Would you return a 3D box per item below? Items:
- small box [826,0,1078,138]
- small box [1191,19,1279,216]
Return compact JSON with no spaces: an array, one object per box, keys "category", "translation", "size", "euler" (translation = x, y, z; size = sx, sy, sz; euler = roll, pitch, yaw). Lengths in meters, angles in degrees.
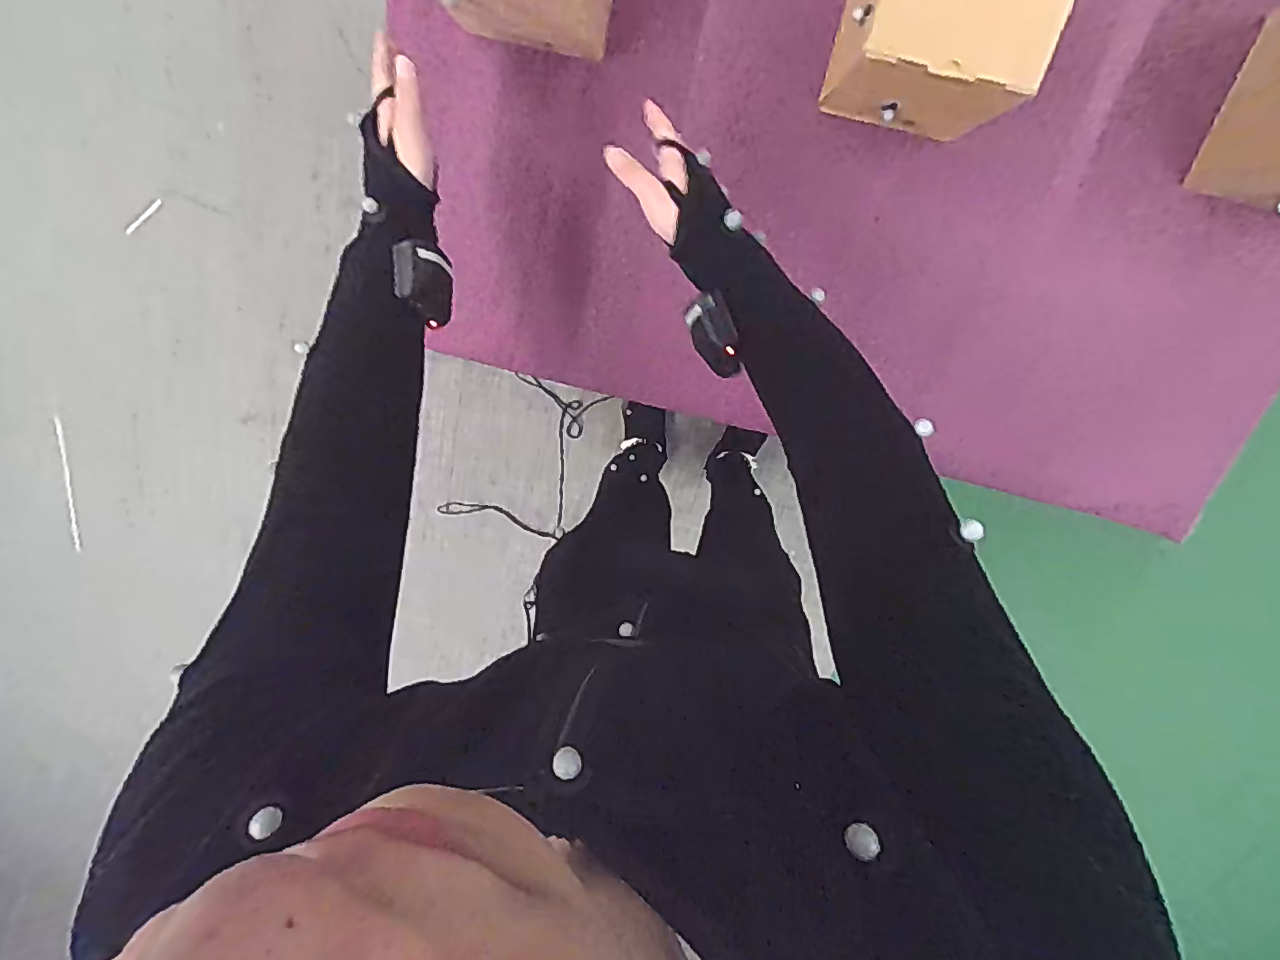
[{"category":"small box","translation":[0.305,-0.472,0.535],"size":[0.168,0.176,0.179],"euler":[12,111,-2]},{"category":"small box","translation":[0.737,-0.381,0.543],"size":[0.168,0.176,0.179],"euler":[14,111,0]}]
